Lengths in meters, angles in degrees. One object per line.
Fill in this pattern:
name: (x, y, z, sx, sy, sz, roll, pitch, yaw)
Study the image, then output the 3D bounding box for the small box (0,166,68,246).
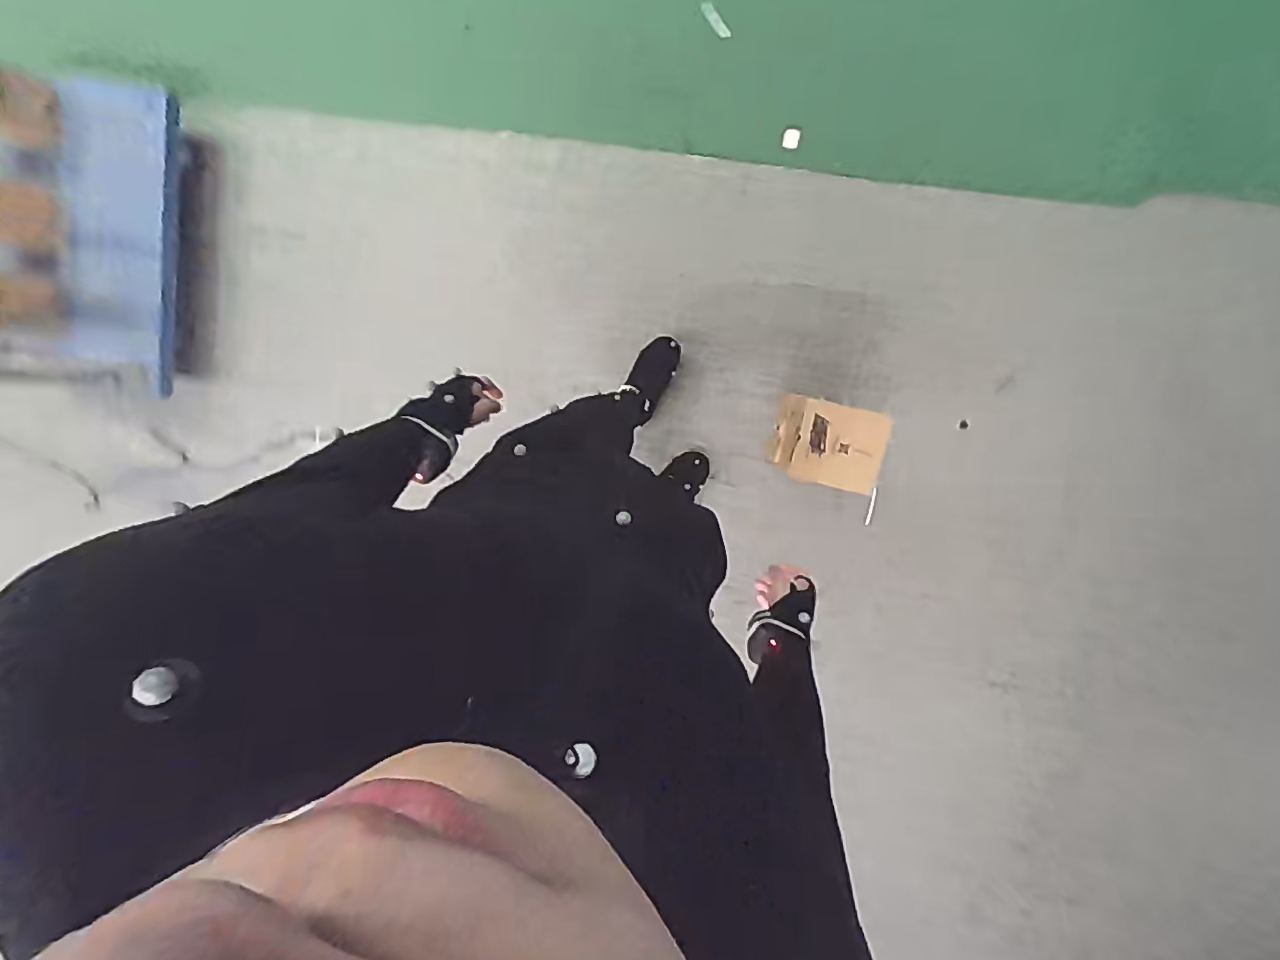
small box: (-1.754, -0.763, 1.492, 0.179, 0.176, 0.168, 11, 99, 4)

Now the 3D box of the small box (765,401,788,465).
small box: (0.451, -0.116, 1.486, 0.168, 0.176, 0.179, 16, 99, 6)

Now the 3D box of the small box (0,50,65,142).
small box: (-1.710, -1.035, 1.445, 0.179, 0.176, 0.168, 11, 100, 5)

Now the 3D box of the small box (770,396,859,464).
small box: (0.427, -0.102, 1.325, 0.179, 0.176, 0.168, 16, 99, 6)

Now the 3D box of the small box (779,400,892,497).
small box: (0.414, -0.072, 1.180, 0.179, 0.176, 0.168, 15, 99, 5)
